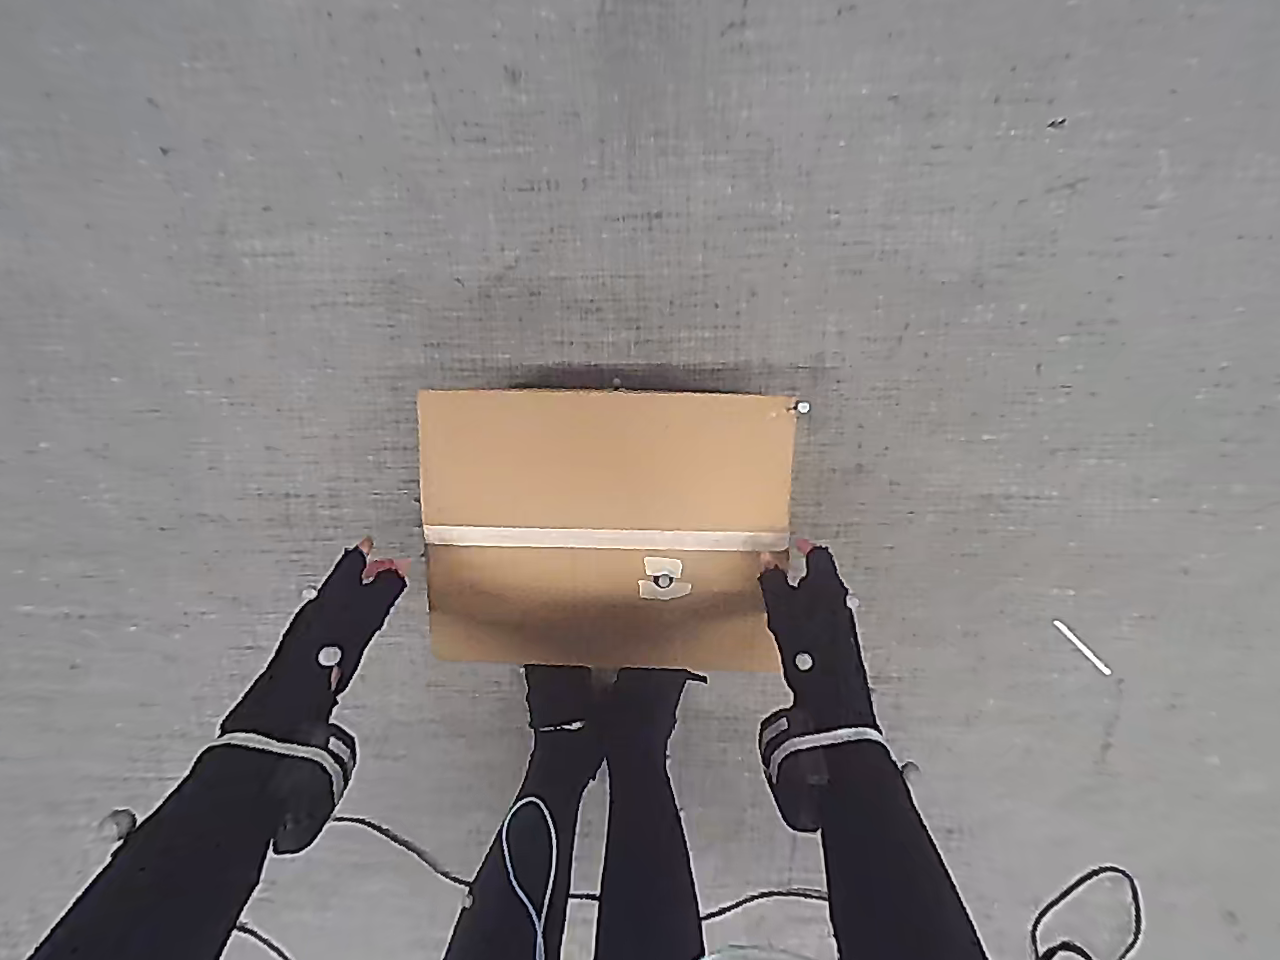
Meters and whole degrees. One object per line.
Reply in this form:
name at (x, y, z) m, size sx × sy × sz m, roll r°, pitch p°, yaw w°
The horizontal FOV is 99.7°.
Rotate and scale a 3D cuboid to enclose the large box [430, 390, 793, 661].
large box at (-0.031, 0.038, 0.756) m, size 0.408 × 0.320 × 0.320 m, roll 1°, pitch 99°, yaw 1°
